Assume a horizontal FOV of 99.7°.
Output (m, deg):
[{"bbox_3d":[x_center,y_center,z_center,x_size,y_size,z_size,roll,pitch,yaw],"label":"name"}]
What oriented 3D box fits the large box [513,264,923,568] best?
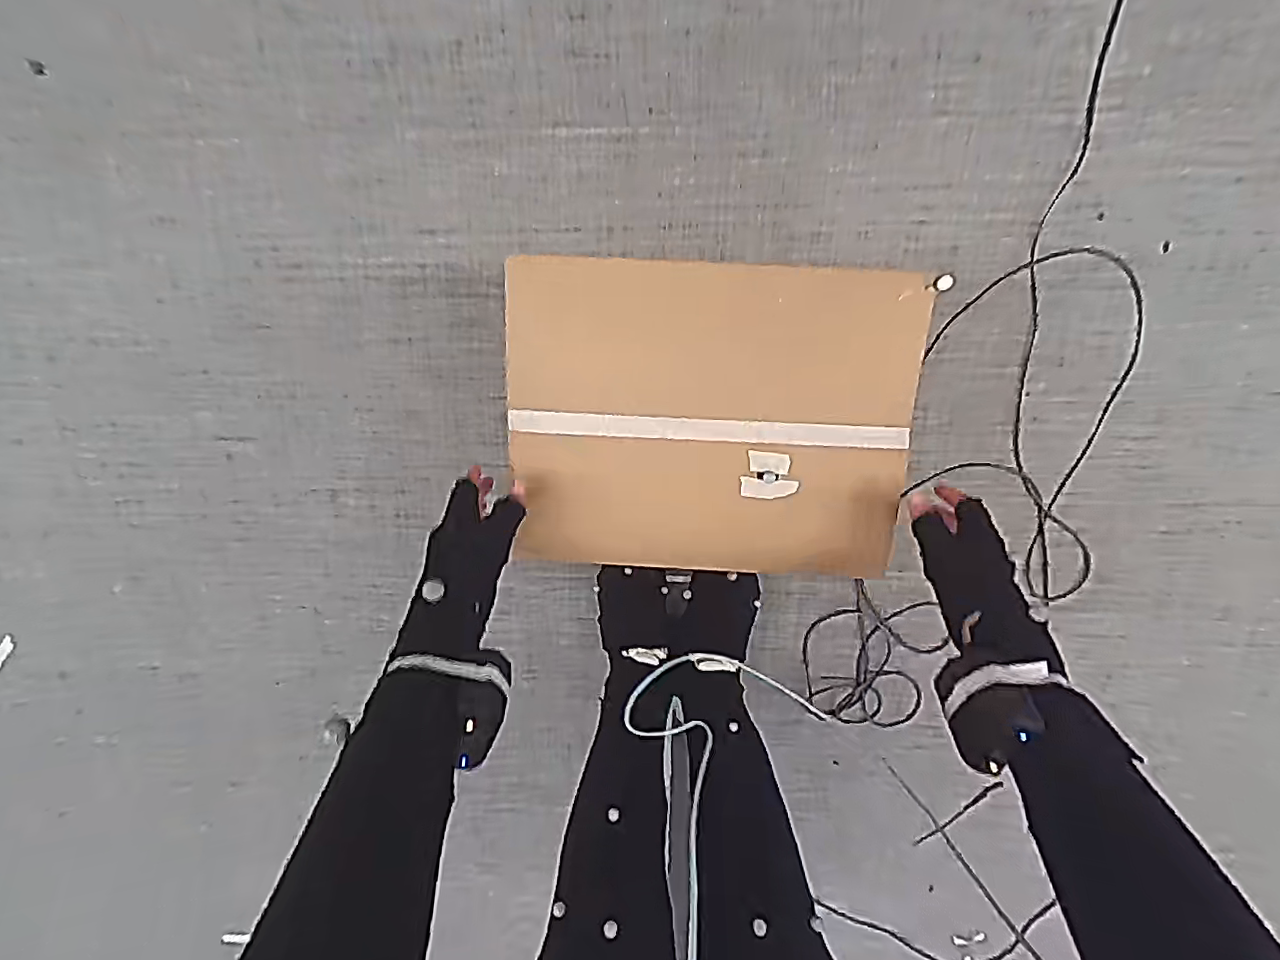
[{"bbox_3d":[0.074,-0.093,0.703,0.408,0.320,0.320,2,106,1],"label":"large box"}]
